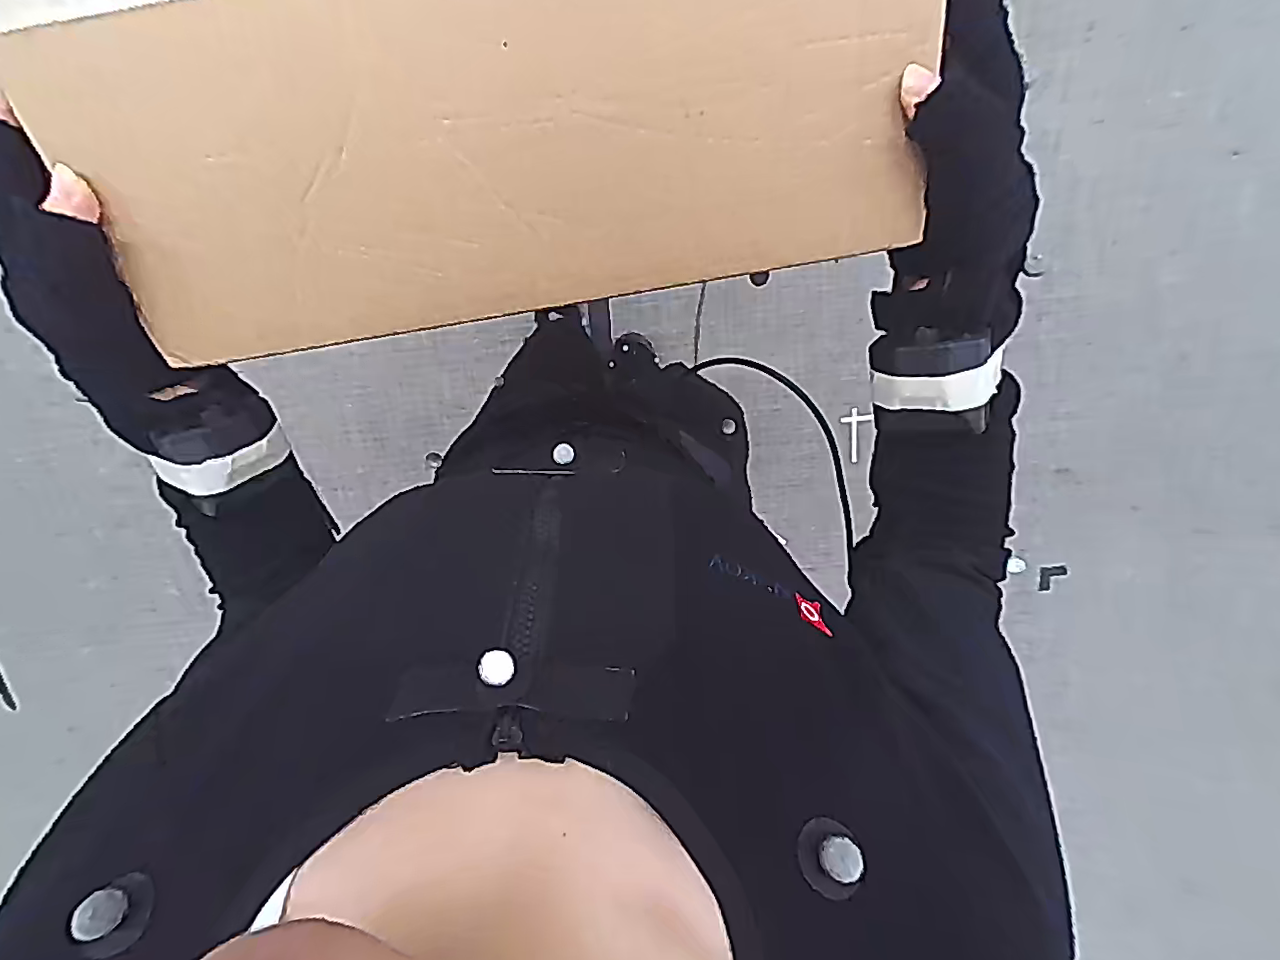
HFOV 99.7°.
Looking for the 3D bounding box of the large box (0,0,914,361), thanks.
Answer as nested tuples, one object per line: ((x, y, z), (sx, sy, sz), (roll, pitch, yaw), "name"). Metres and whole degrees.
((-0.085, -0.303, 0.353), (0.408, 0.320, 0.320), (-9, 118, 3), "large box")
